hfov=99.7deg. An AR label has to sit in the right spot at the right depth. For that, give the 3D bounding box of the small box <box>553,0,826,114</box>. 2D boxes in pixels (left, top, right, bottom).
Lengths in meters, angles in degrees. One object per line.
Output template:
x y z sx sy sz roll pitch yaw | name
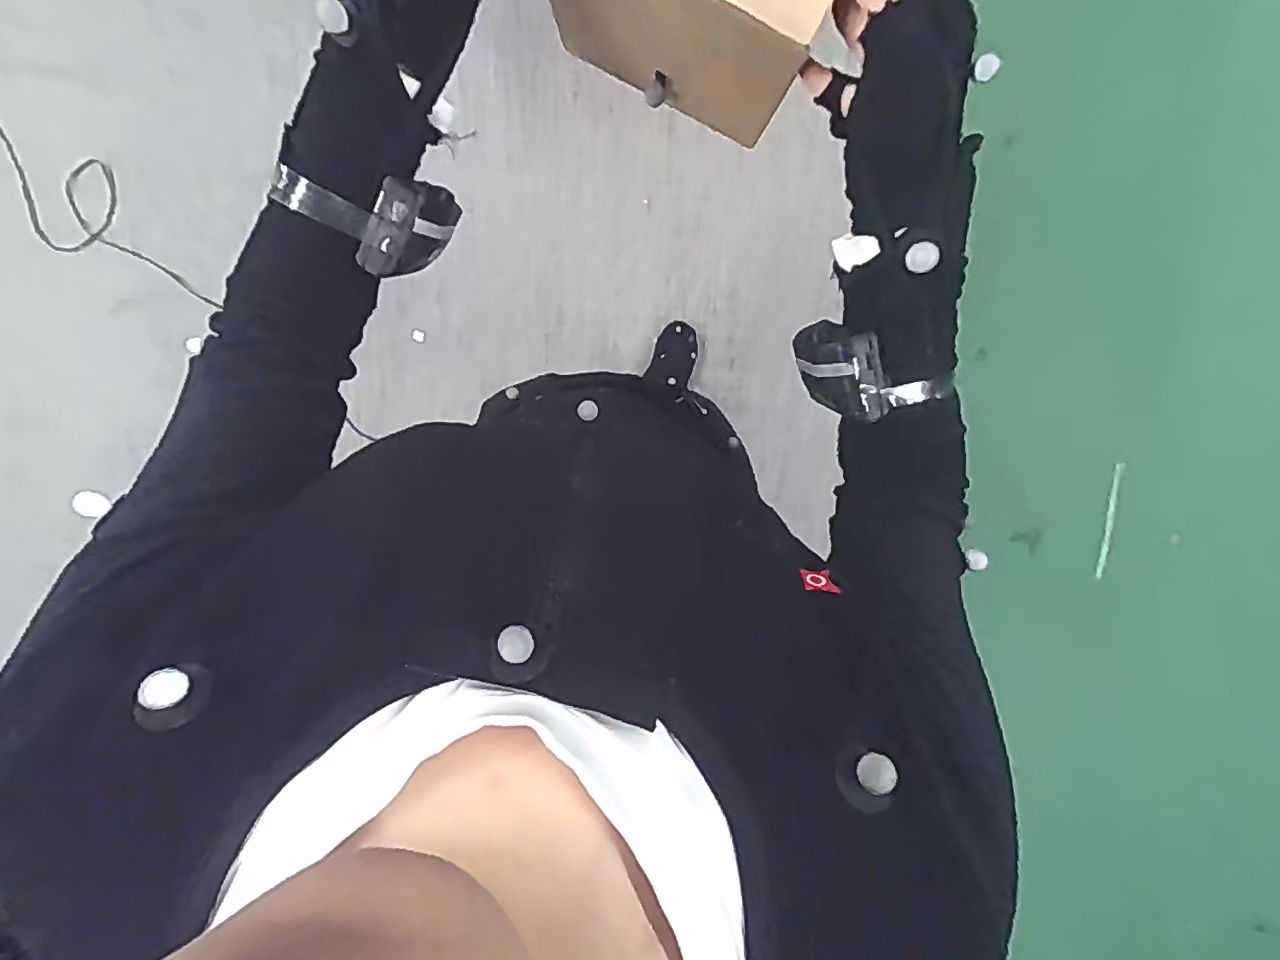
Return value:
0.046 -0.368 0.335 0.179 0.176 0.168 25 104 -7 | small box
